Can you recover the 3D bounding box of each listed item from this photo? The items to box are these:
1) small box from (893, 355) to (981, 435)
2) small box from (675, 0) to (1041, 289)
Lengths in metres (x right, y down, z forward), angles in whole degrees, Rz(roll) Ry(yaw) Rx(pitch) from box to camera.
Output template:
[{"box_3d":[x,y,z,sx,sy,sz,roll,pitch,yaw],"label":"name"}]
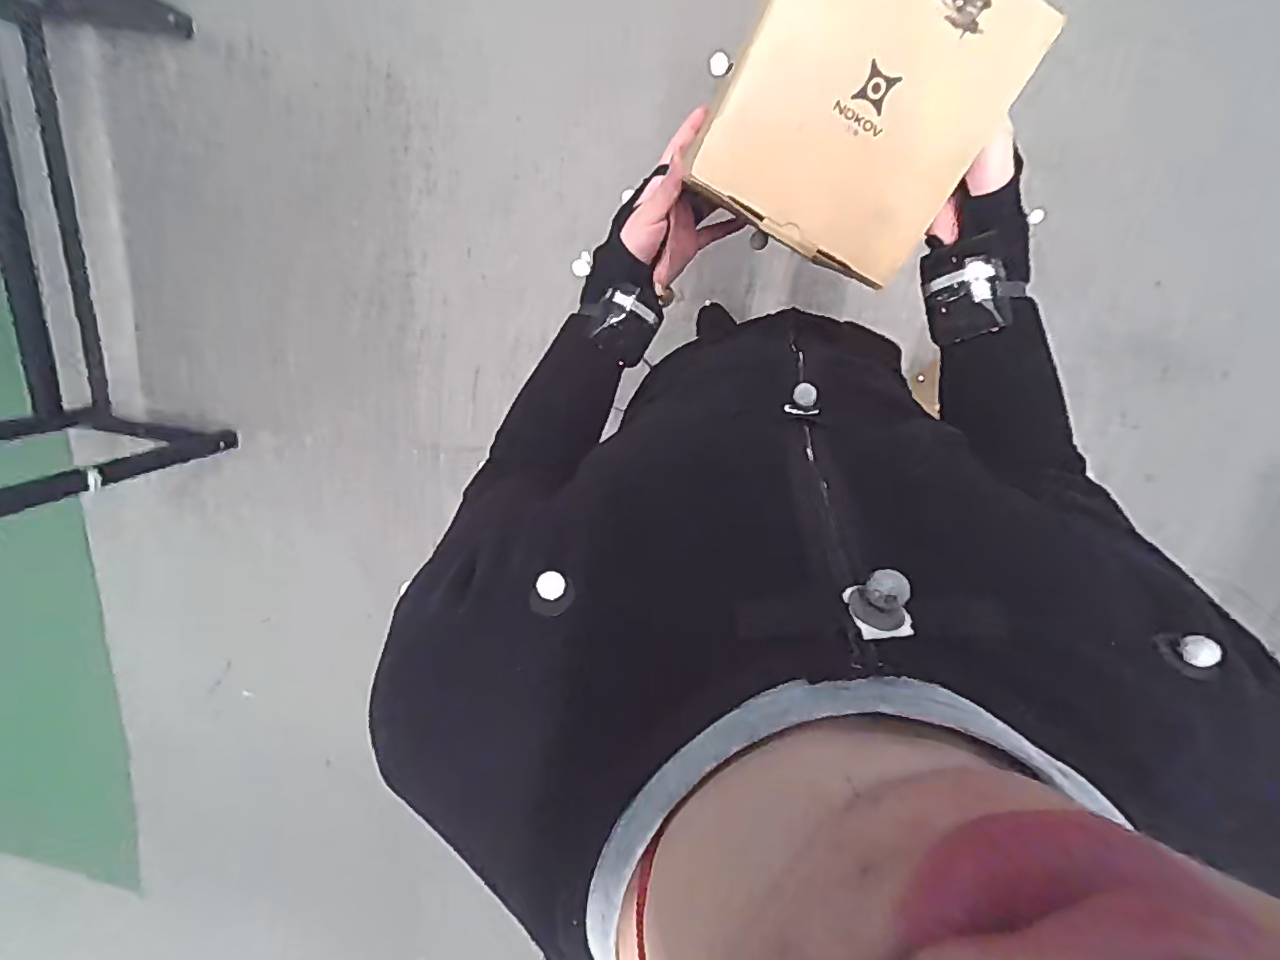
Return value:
[{"box_3d":[0.774,-0.201,1.364,0.168,0.176,0.179,-35,100,17],"label":"small box"},{"box_3d":[0.138,-0.278,0.420,0.168,0.176,0.179,24,116,-11],"label":"small box"}]
